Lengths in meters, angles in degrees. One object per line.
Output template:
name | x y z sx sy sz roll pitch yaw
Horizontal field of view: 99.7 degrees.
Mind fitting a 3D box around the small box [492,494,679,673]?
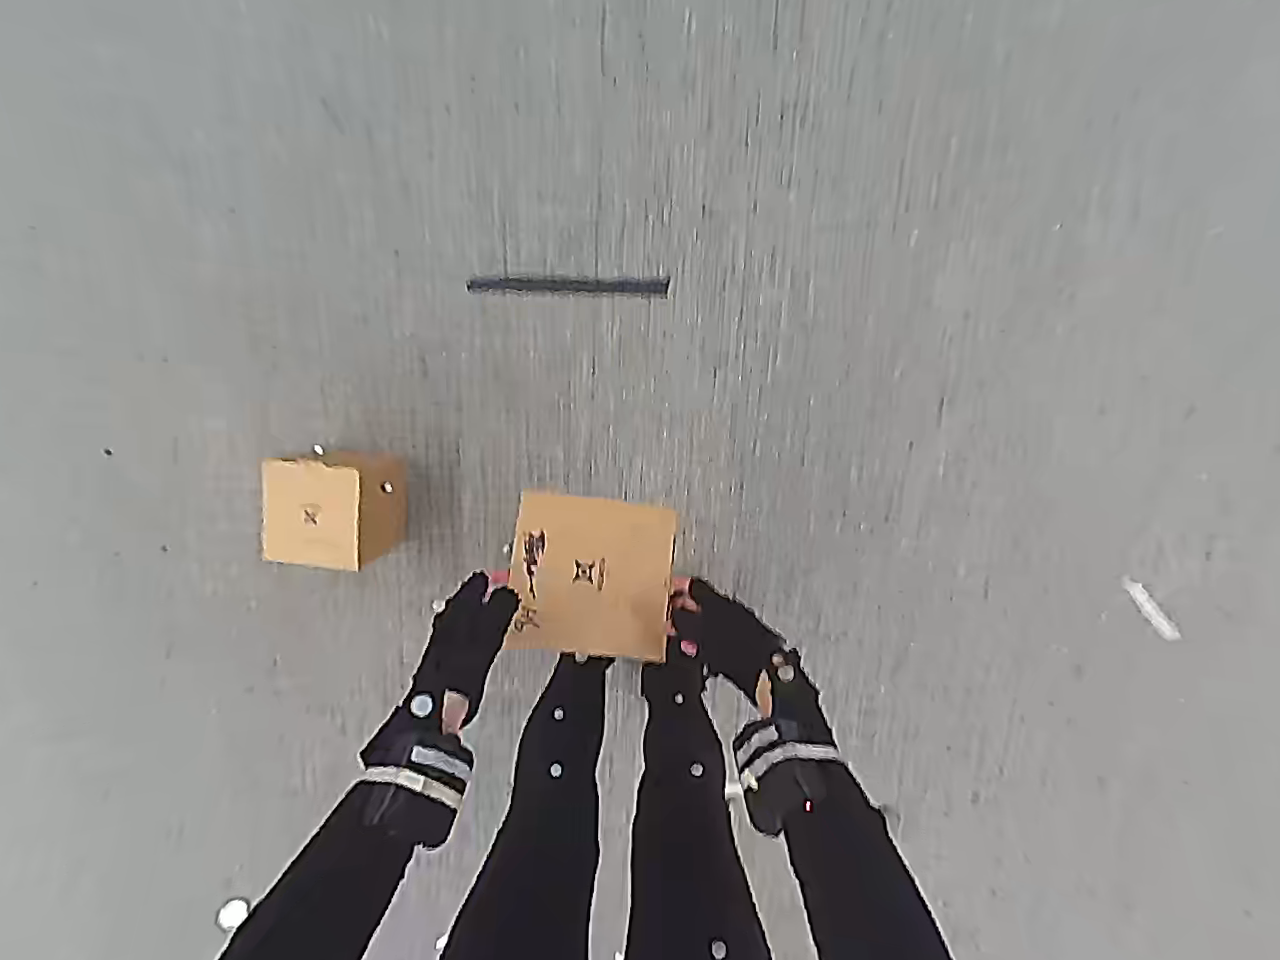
small box | -0.063 0.125 0.641 0.179 0.176 0.168 9 74 -5

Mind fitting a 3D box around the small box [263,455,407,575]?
small box | -0.537 0.054 0.970 0.168 0.176 0.179 6 100 3
